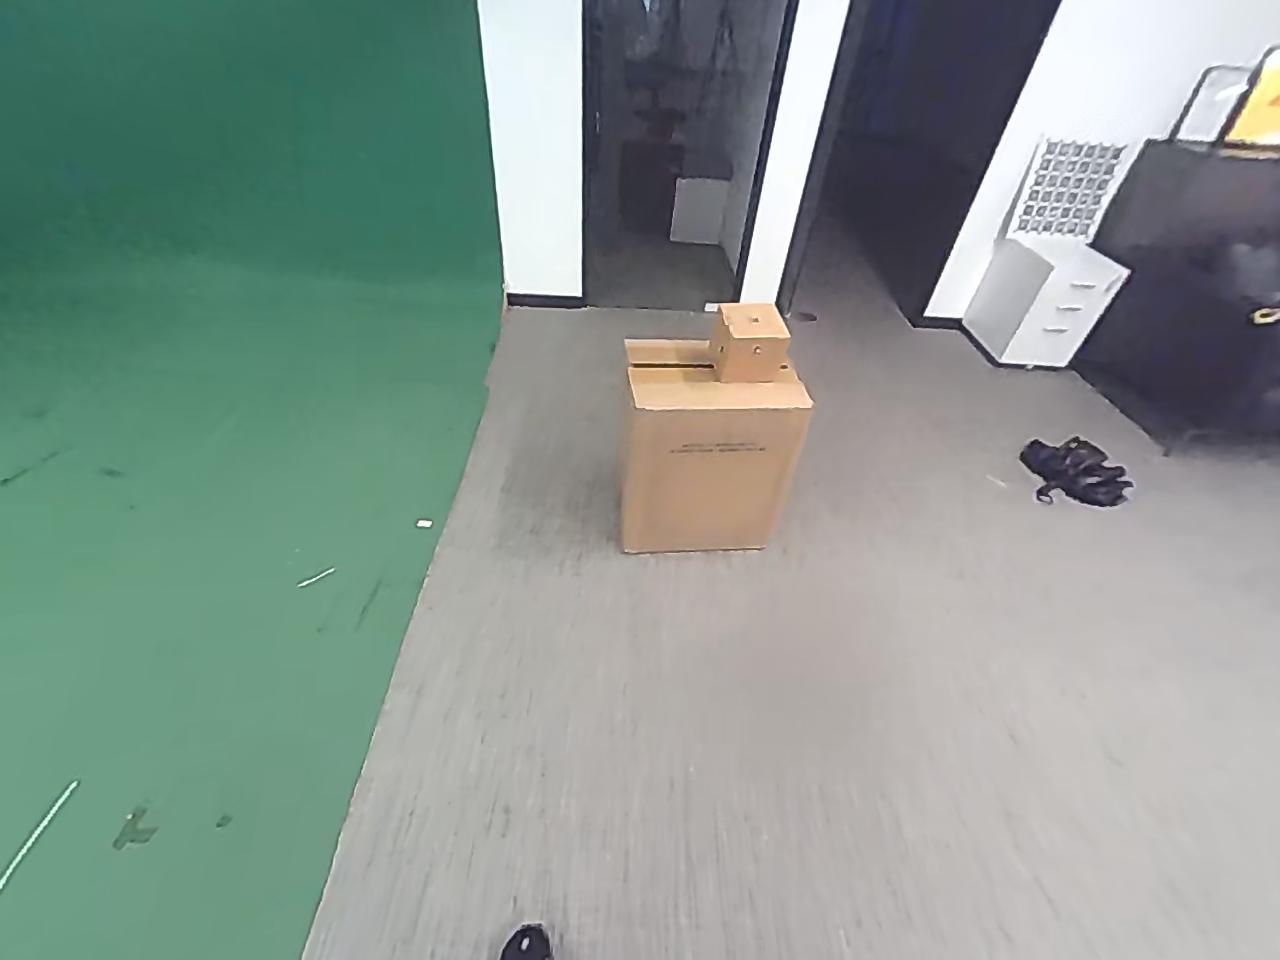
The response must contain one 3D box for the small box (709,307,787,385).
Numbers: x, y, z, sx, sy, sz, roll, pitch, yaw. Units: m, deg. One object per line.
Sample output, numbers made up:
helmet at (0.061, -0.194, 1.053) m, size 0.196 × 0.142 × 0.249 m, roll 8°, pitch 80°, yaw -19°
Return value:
small box at (0.314, -0.399, 1.623) m, size 0.179 × 0.176 × 0.168 m, roll -3°, pitch 52°, yaw -11°
